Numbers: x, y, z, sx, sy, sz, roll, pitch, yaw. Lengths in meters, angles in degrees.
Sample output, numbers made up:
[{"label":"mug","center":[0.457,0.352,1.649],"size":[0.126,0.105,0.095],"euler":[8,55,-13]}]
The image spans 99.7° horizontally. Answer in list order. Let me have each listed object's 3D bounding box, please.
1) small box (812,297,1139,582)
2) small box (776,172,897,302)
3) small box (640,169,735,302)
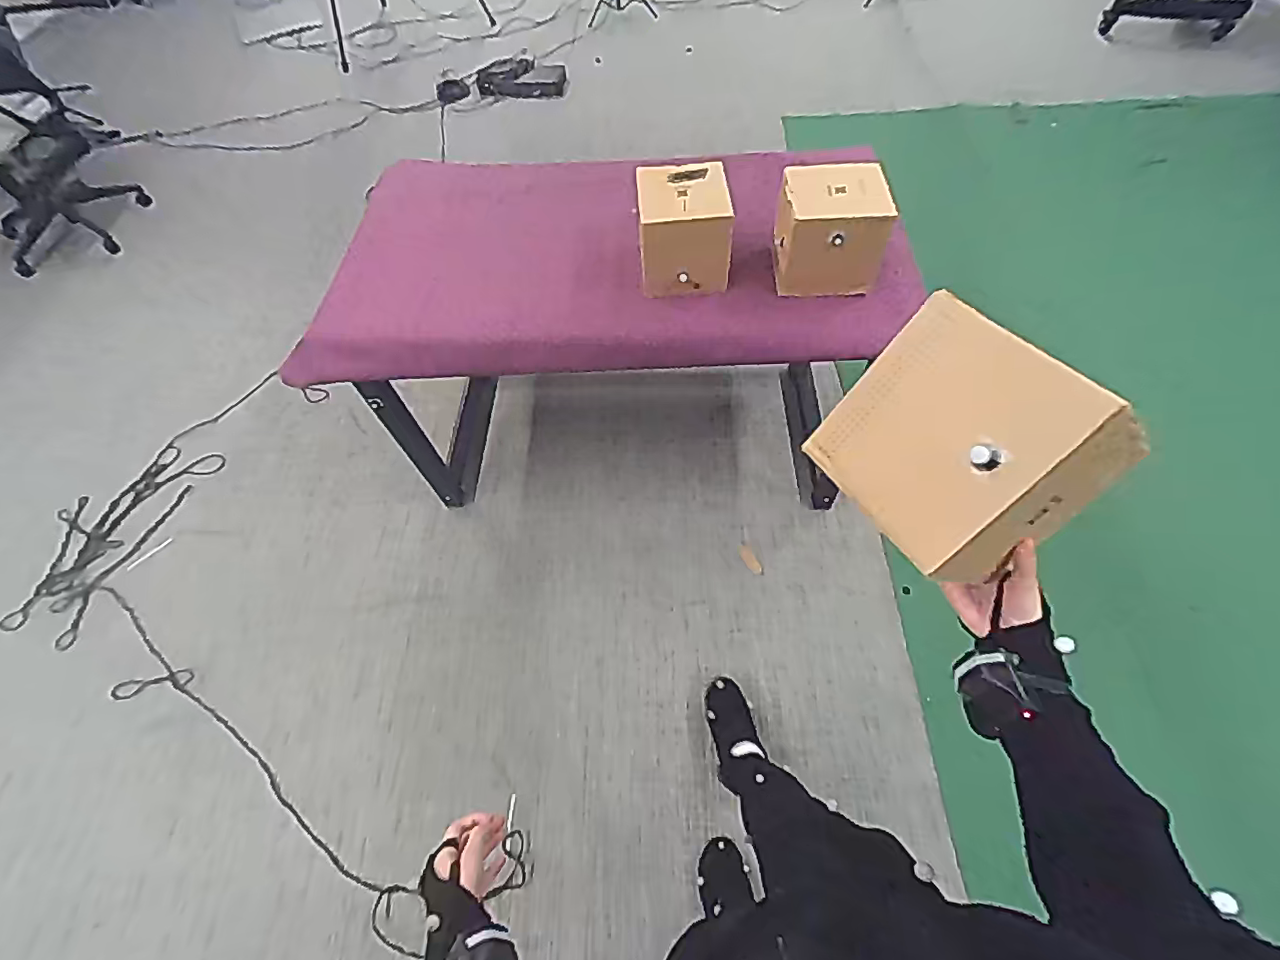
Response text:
[{"label":"small box","center":[0.285,-0.030,0.492],"size":[0.168,0.179,0.176],"euler":[13,32,-42]},{"label":"small box","center":[0.357,-0.455,1.025],"size":[0.179,0.176,0.168],"euler":[1,58,4]},{"label":"small box","center":[0.086,-0.473,1.053],"size":[0.168,0.176,0.179],"euler":[-4,59,1]}]
